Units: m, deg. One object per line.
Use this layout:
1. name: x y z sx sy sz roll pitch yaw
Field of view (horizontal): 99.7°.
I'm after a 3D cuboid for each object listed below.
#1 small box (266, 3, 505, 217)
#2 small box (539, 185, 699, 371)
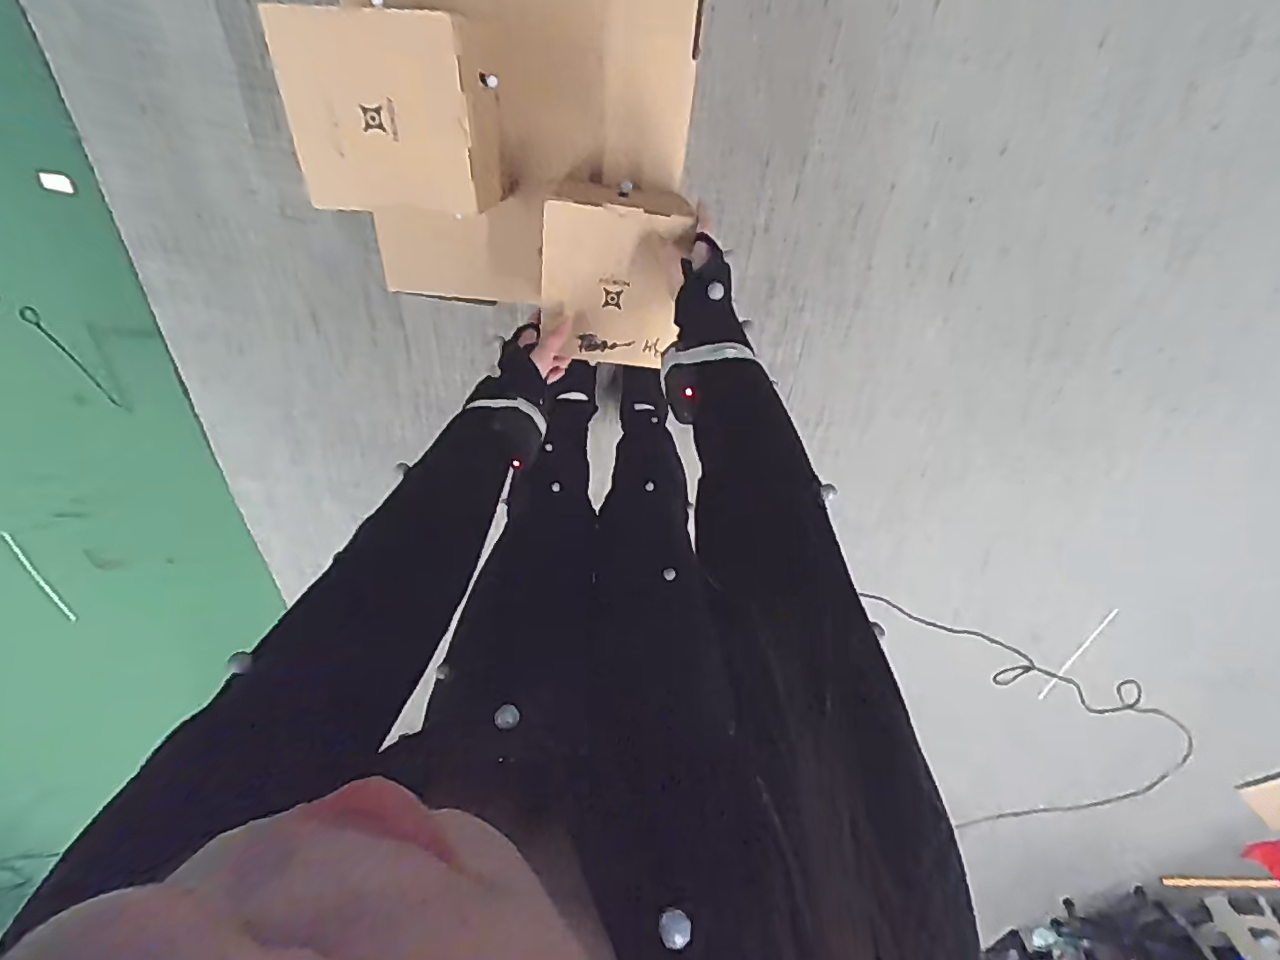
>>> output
1. small box: -0.251 -0.395 0.591 0.179 0.176 0.168 3 123 -1
2. small box: -0.031 -0.259 0.682 0.168 0.176 0.179 7 124 -5
